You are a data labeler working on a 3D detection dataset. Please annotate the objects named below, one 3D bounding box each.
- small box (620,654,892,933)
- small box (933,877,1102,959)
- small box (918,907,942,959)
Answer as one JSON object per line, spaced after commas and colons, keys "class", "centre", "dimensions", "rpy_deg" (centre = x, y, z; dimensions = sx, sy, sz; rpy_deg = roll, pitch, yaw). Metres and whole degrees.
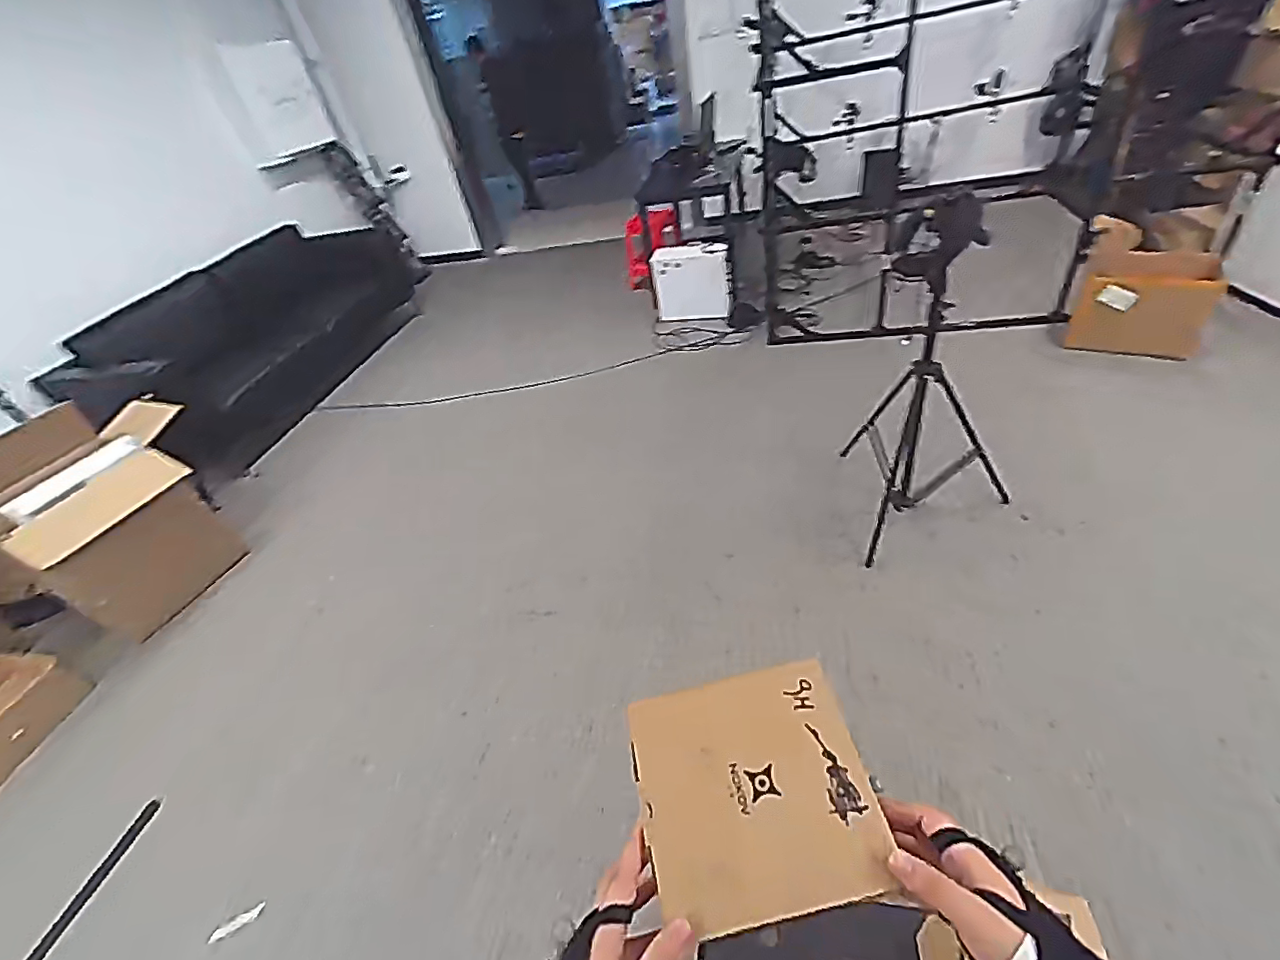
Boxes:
{"class": "small box", "centre": [0.093, 0.286, 0.487], "dimensions": [0.179, 0.176, 0.168], "rpy_deg": [-14, 49, -1]}
{"class": "small box", "centre": [0.525, 0.689, 0.752], "dimensions": [0.168, 0.176, 0.179], "rpy_deg": [-3, 42, 14]}
{"class": "small box", "centre": [0.546, 0.815, 0.855], "dimensions": [0.168, 0.176, 0.179], "rpy_deg": [-3, 41, 14]}
